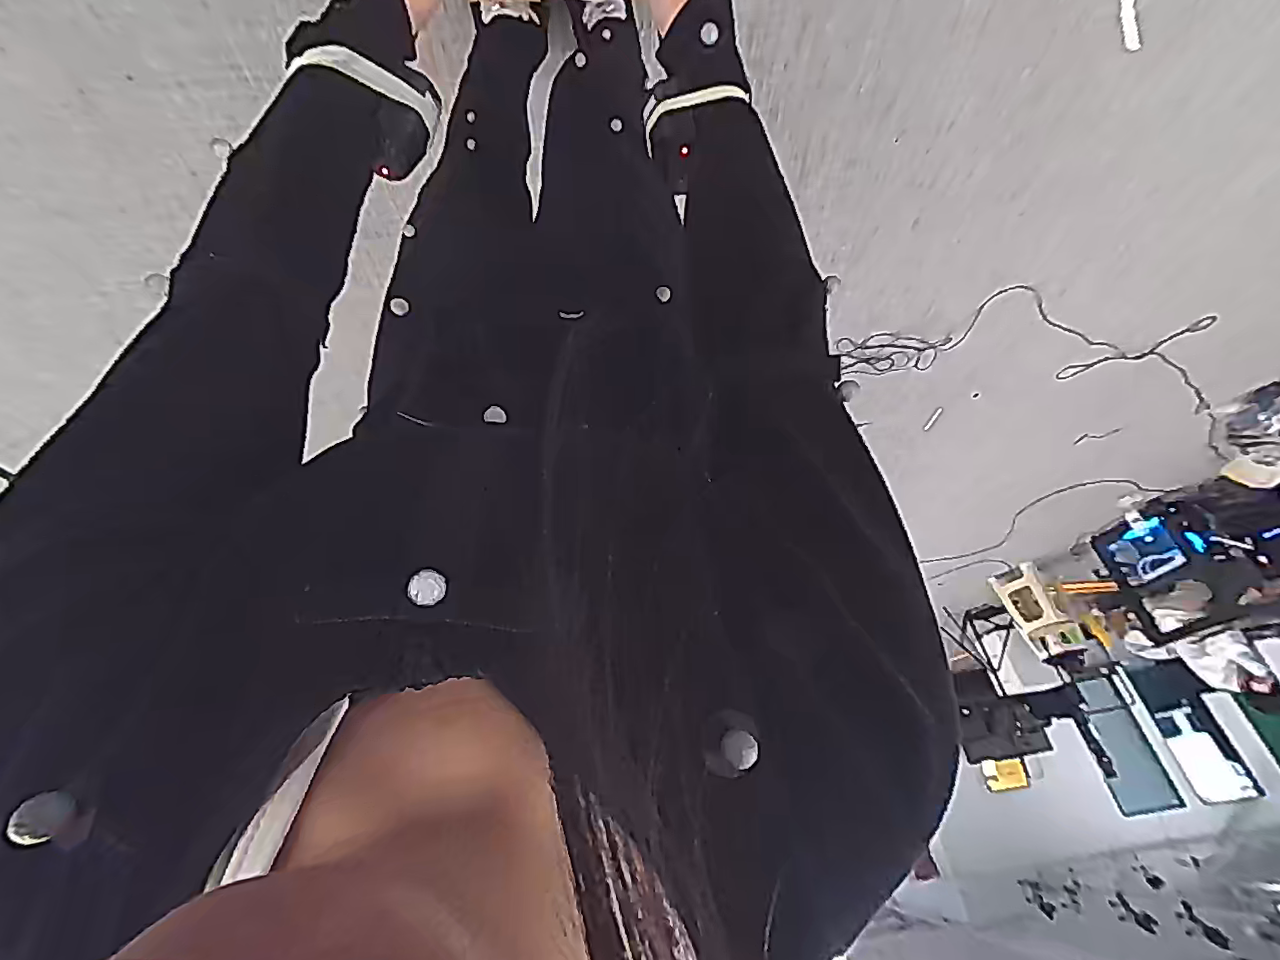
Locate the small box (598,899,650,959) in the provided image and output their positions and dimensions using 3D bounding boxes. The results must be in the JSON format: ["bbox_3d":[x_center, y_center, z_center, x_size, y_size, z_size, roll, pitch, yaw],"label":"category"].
[{"bbox_3d":[-0.058,1.609,1.915,0.168,0.176,0.179,-6,149,-7],"label":"small box"}]

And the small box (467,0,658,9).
[{"bbox_3d":[-0.069,-0.512,0.425,0.168,0.176,0.179,-5,147,-5],"label":"small box"}]
